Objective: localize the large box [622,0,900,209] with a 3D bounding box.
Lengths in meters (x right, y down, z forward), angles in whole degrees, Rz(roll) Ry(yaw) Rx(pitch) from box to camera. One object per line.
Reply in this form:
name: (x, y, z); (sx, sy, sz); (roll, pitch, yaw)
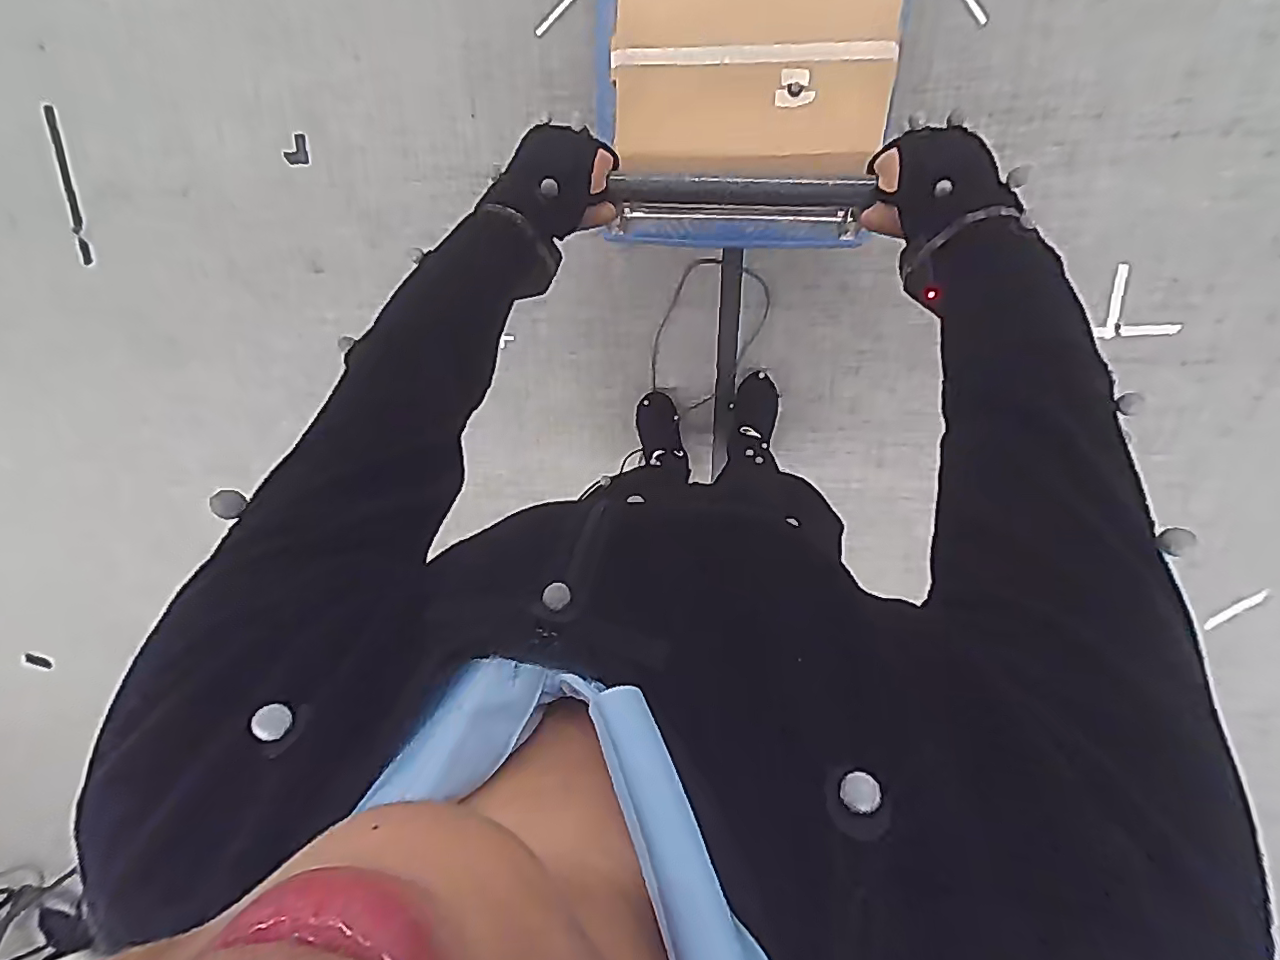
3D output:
large box: (0.187, -0.673, 0.947); (0.408, 0.320, 0.320); (4, 109, 7)
